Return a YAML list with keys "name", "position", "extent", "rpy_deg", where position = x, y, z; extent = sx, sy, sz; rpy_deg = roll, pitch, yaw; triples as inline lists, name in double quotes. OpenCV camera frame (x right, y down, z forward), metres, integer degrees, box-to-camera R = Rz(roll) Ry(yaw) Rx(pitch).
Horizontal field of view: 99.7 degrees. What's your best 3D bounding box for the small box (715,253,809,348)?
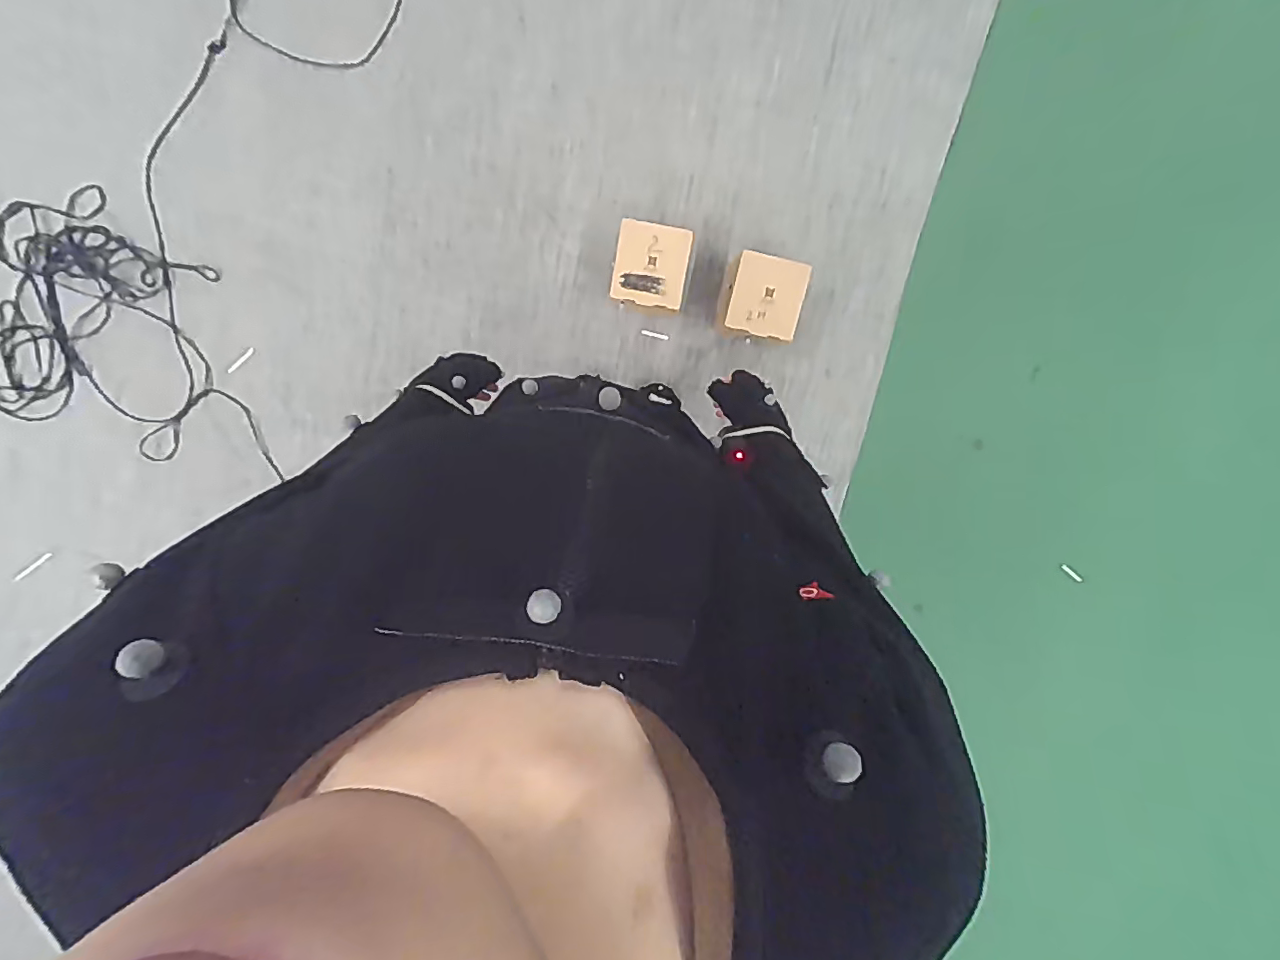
- name: "small box"
  position: [0.290, -0.432, 1.328]
  extent: [0.168, 0.176, 0.179]
  rpy_deg: [13, 101, -2]
